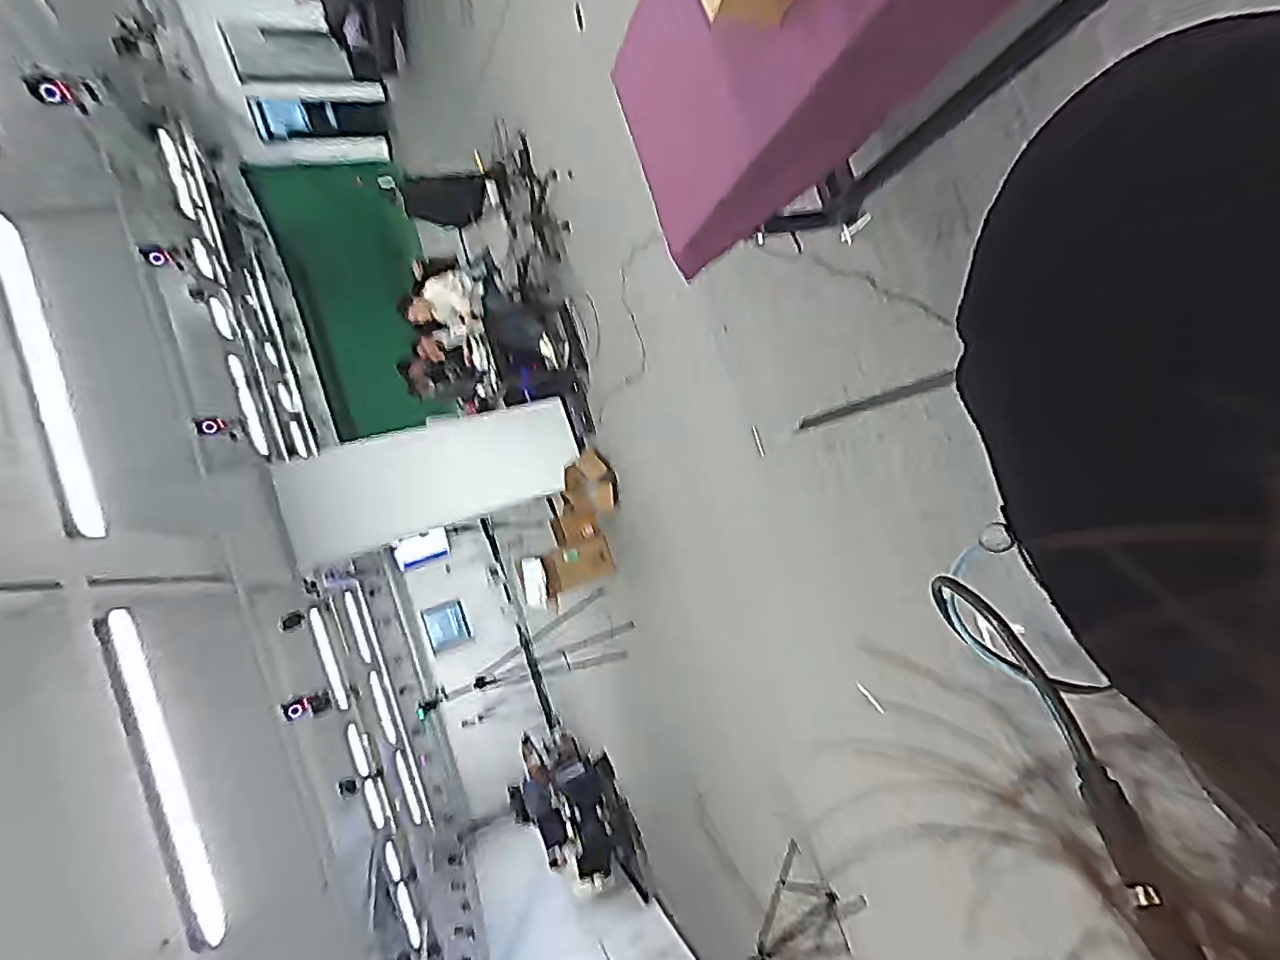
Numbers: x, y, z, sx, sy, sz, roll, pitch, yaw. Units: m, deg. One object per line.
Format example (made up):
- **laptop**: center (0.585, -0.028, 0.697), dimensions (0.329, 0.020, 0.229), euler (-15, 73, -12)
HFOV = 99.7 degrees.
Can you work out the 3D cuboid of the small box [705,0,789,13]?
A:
- **small box**: center (0.204, -0.992, 0.978), dimensions (0.179, 0.176, 0.168), euler (69, 157, 5)
